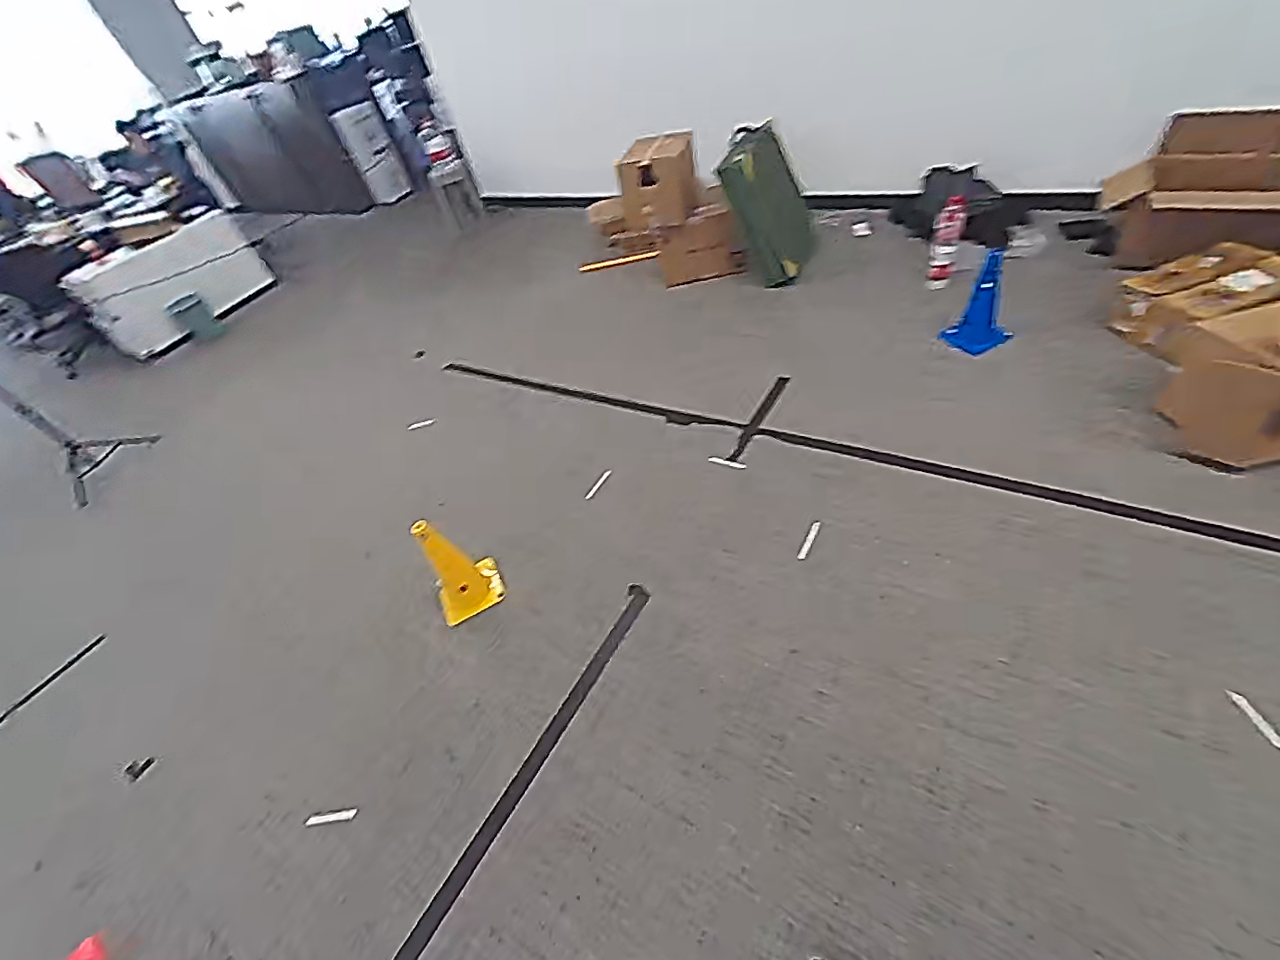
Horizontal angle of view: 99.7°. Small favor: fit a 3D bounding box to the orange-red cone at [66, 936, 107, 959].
[{"bbox_3d":[-1.389,1.116,1.150,0.198,0.360,0.199,25,58,34],"label":"orange-red cone"}]
